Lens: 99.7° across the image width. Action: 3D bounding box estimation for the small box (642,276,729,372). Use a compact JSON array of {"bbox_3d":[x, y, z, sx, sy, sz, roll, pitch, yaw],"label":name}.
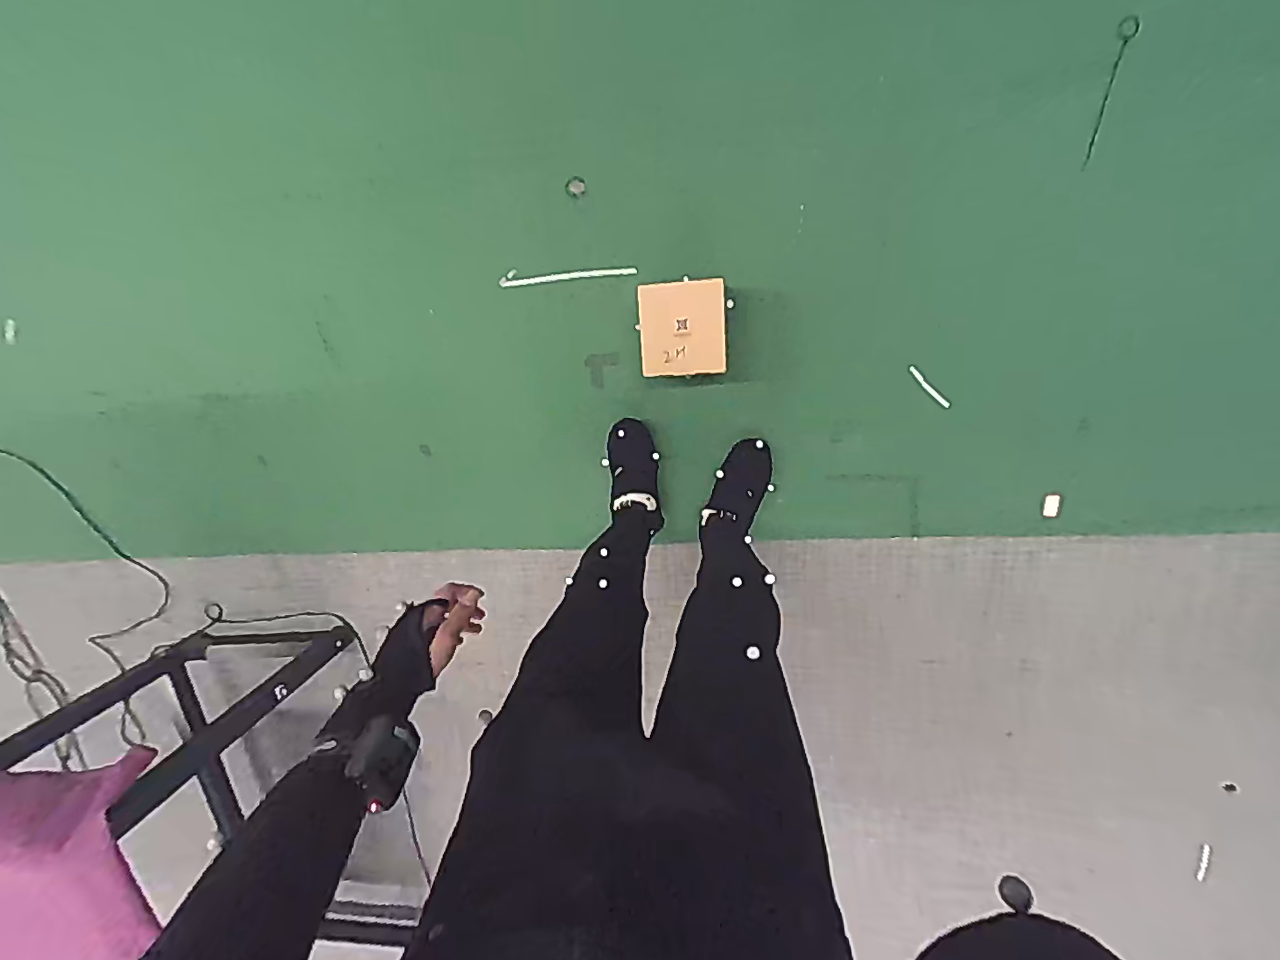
[{"bbox_3d":[0.098,-0.318,1.117,0.168,0.176,0.179,0,106,10],"label":"small box"}]
